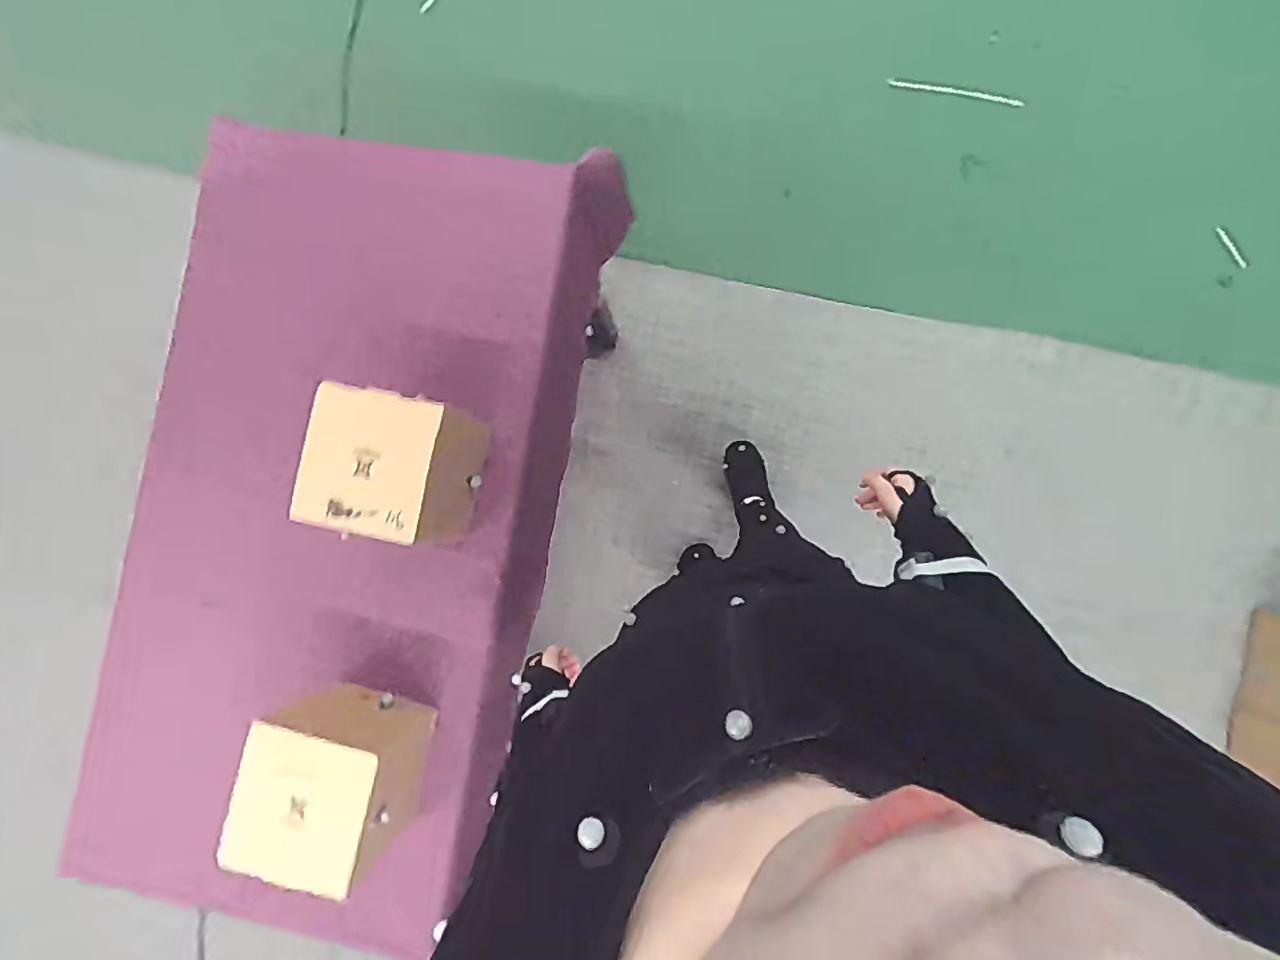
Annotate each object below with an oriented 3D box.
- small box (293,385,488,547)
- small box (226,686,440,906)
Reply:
[{"bbox_3d":[-0.325,-0.013,0.742,0.168,0.176,0.179,11,87,5],"label":"small box"},{"bbox_3d":[-0.392,0.402,0.722,0.168,0.176,0.179,12,87,5],"label":"small box"}]
